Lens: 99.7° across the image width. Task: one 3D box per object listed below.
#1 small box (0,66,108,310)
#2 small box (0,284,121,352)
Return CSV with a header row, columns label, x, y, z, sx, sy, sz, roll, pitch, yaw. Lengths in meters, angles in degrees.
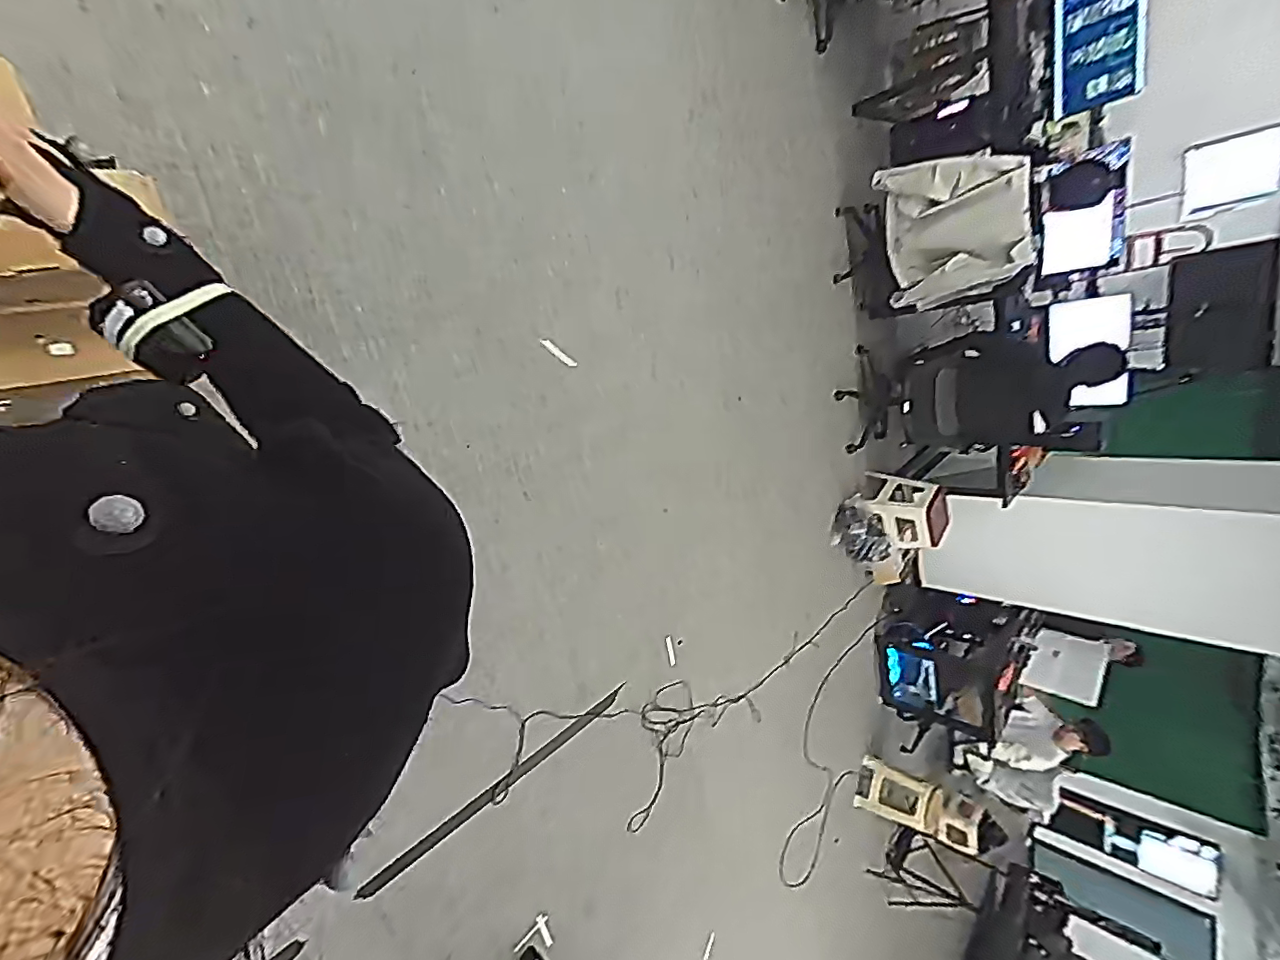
label,x,y,z,sx,sy,sz,roll,pitch,yaw
small box,-0.646,-0.261,0.505,0.168,0.176,0.179,-27,113,-40
small box,-0.866,-0.276,0.746,0.179,0.176,0.168,-28,114,-40
